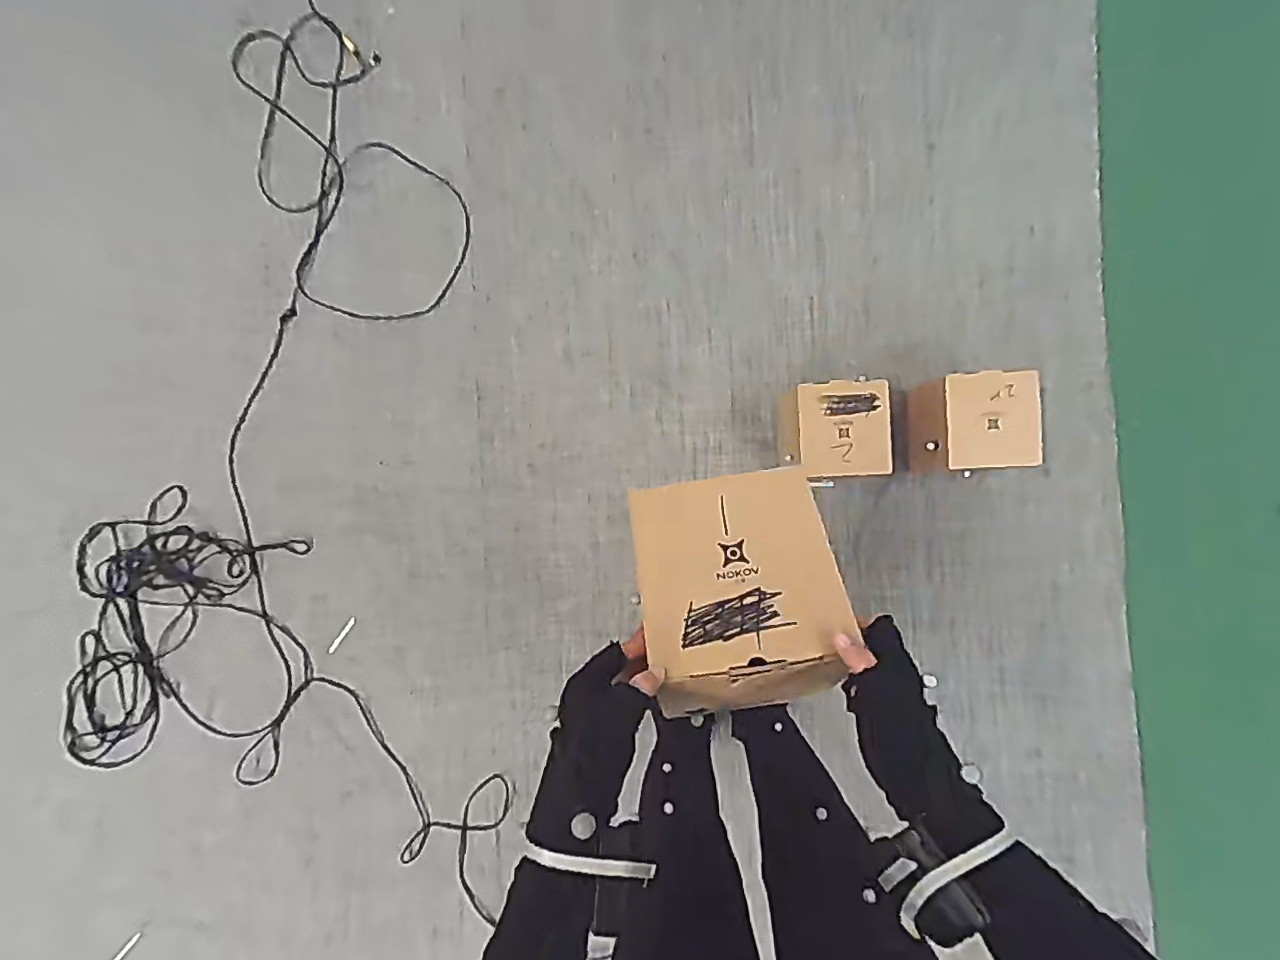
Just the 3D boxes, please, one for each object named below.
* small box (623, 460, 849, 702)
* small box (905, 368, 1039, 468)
[{"bbox_3d":[0.083,0.108,0.526,0.168,0.176,0.179,-9,56,2],"label":"small box"},{"bbox_3d":[0.633,-0.112,1.048,0.168,0.176,0.179,-2,89,3],"label":"small box"}]
